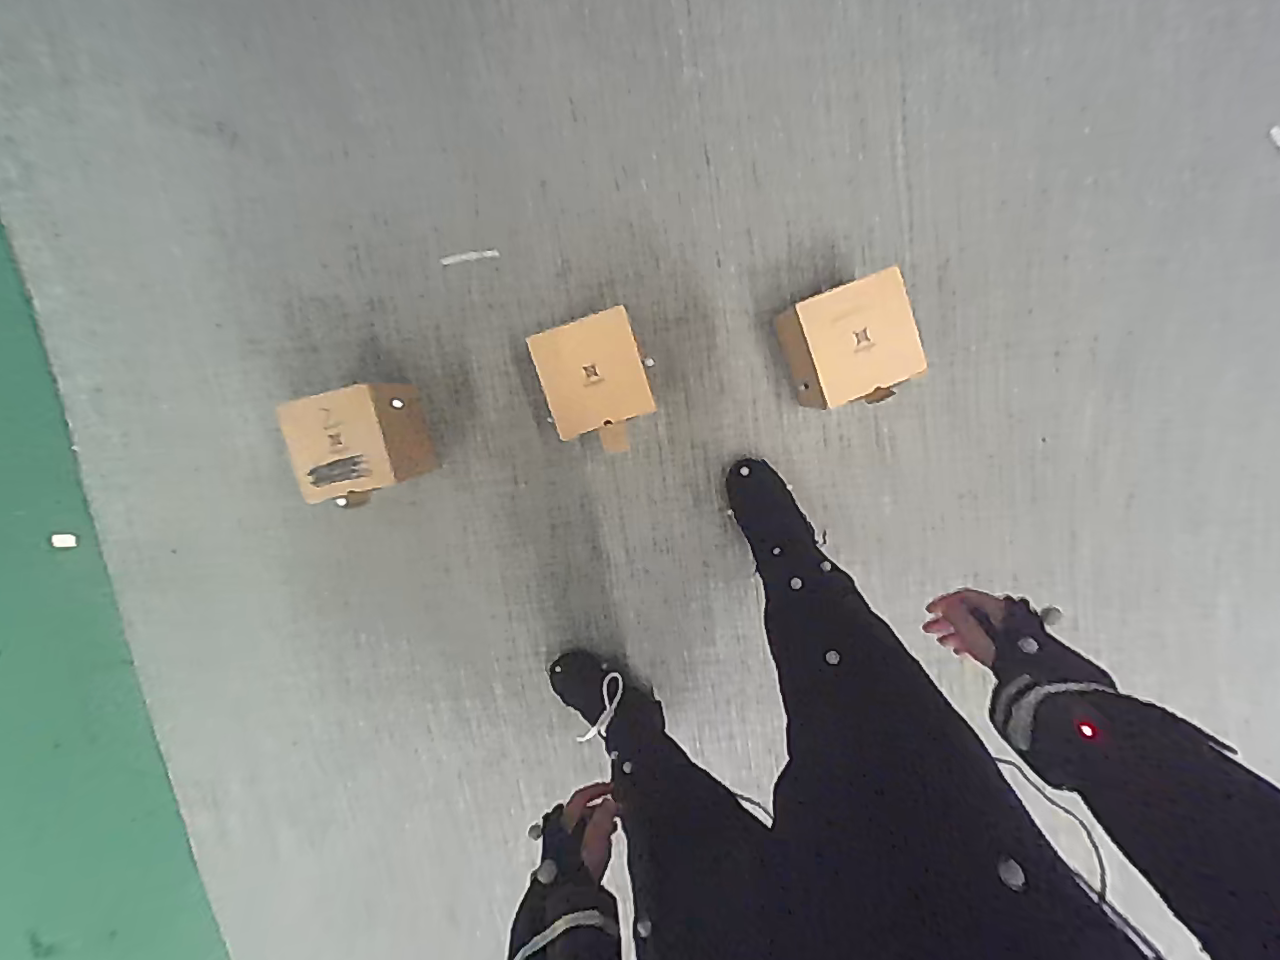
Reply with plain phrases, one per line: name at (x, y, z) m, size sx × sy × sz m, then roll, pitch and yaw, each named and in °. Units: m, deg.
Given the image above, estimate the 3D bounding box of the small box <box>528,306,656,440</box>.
small box at (-0.075, -0.180, 0.936) m, size 0.168 × 0.176 × 0.179 m, roll -18°, pitch 99°, yaw 5°

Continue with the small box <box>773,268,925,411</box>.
small box at (0.342, -0.228, 0.913) m, size 0.168 × 0.176 × 0.179 m, roll -21°, pitch 97°, yaw 4°
